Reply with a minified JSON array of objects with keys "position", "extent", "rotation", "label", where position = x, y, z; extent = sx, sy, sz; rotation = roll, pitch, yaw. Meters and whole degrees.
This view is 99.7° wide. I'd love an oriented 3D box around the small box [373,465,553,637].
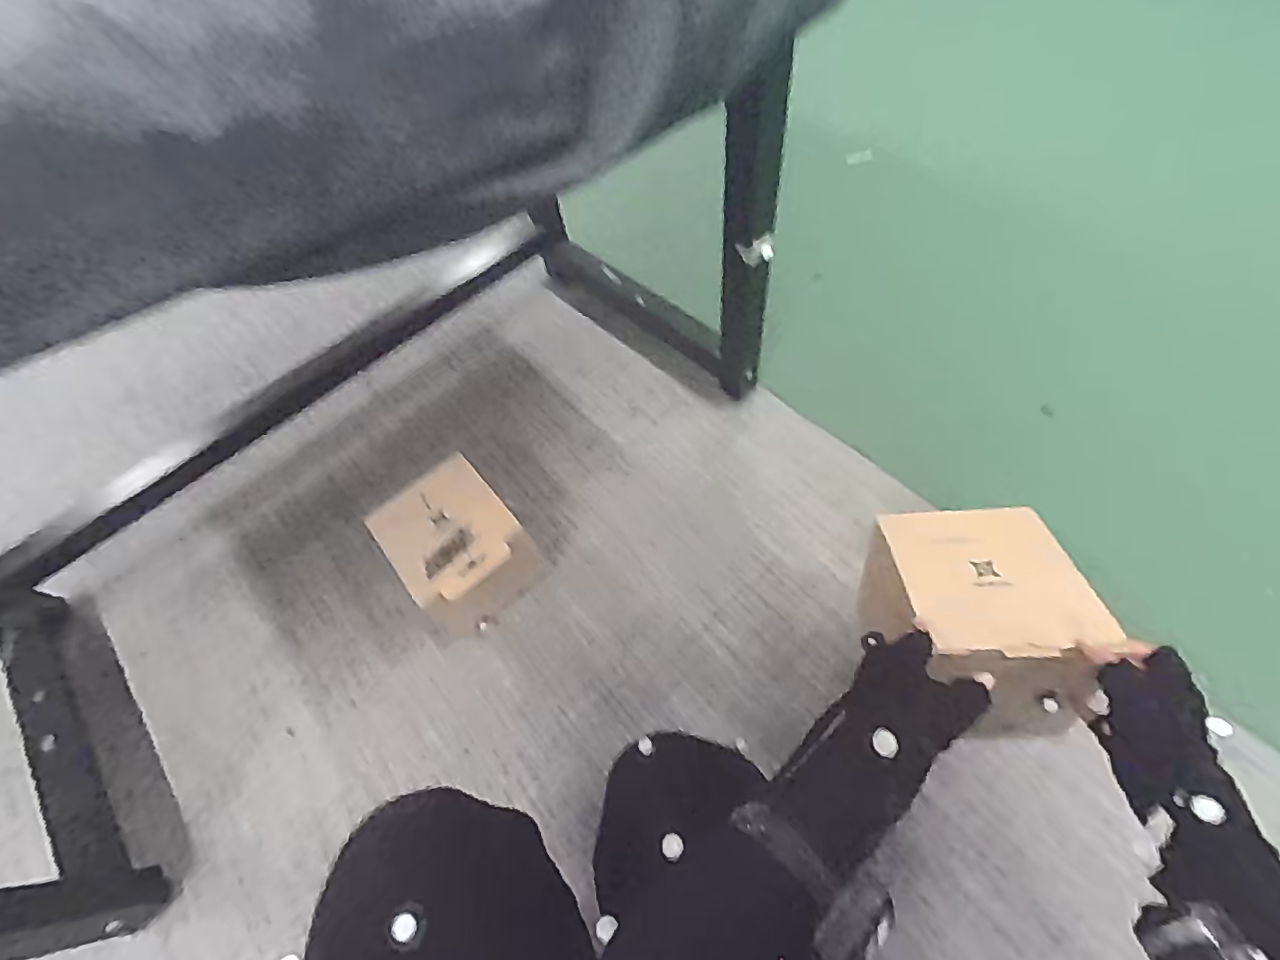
[{"position":[-0.257,0.117,0.821],"extent":[0.168,0.176,0.179],"rotation":[-39,61,-15],"label":"small box"}]
